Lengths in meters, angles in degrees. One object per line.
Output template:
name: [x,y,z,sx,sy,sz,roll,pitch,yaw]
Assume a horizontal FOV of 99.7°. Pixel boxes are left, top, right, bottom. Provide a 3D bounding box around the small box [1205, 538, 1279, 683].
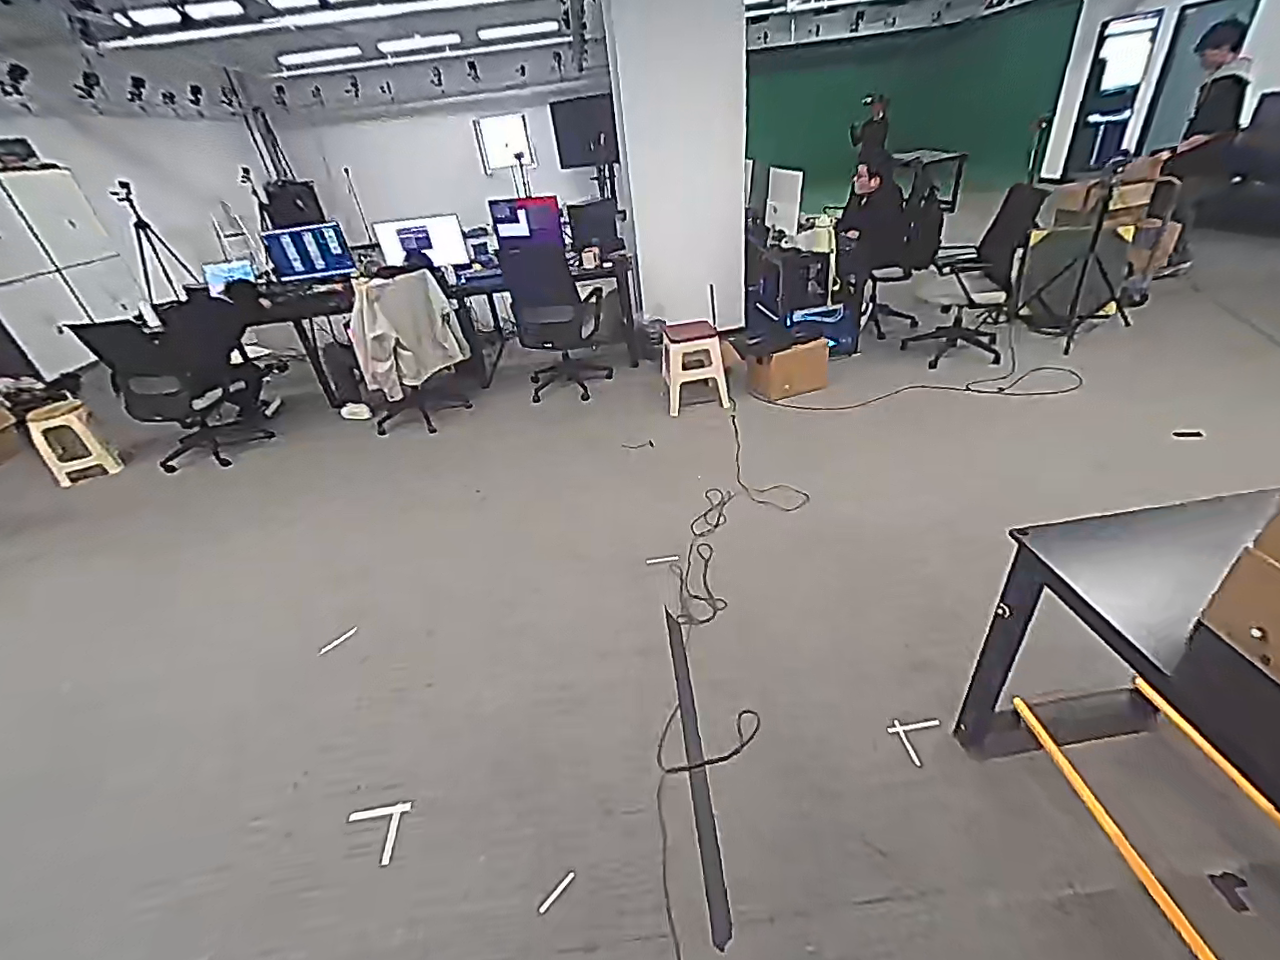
small box: [1.041,0.197,0.819,0.179,0.176,0.168,-8,32,0]
